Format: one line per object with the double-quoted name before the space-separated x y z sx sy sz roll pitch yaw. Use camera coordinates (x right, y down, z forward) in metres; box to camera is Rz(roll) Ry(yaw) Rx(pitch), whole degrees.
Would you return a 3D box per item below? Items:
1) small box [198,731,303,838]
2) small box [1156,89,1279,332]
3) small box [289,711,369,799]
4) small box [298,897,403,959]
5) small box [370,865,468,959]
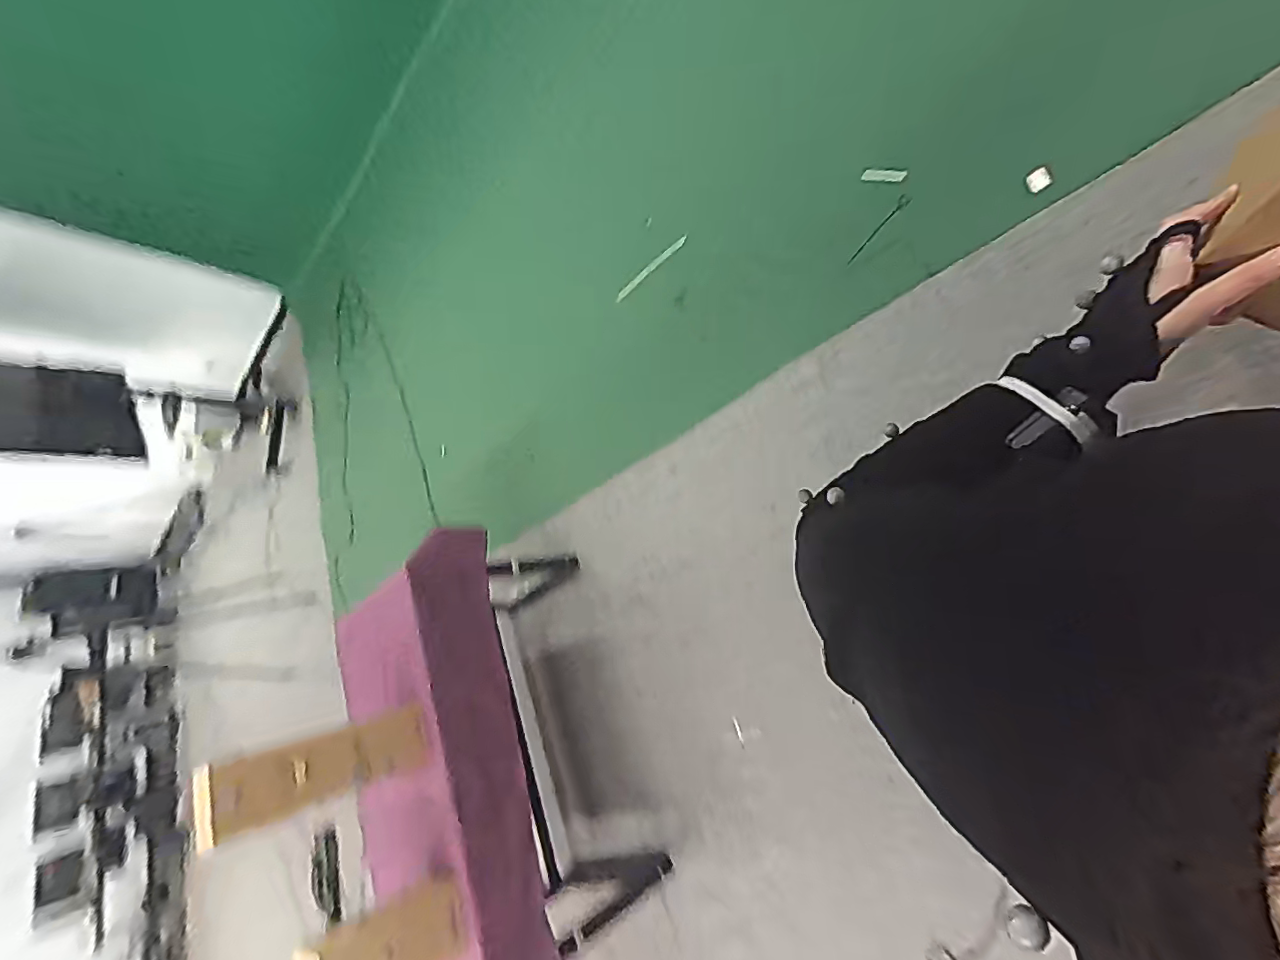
"small box" -0.943 0.729 1.310 0.168 0.176 0.179 -36 66 34
"small box" 0.493 -0.199 0.328 0.179 0.168 0.176 31 76 17
"small box" -0.836 0.732 1.433 0.179 0.176 0.168 -35 65 36
"small box" -0.680 1.123 1.274 0.179 0.176 0.168 -29 71 37
"small box" -0.572 1.130 1.399 0.179 0.176 0.168 -28 70 36
